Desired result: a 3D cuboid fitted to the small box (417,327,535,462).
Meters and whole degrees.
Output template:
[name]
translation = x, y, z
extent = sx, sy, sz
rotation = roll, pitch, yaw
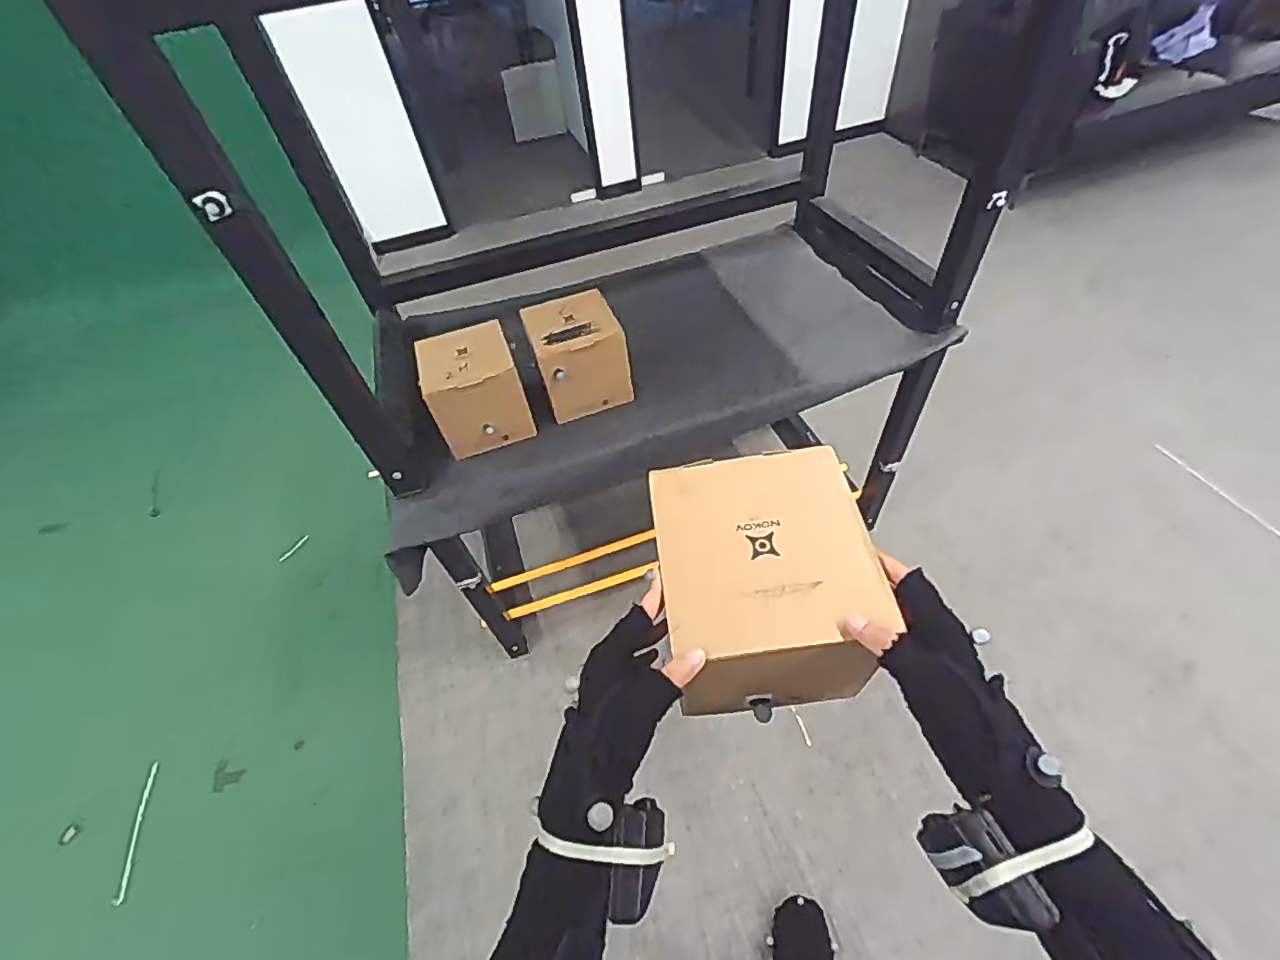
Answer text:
[small box]
translation = -0.315, -0.165, 1.050
extent = 0.168, 0.176, 0.179
rotation = -19, 50, -9
